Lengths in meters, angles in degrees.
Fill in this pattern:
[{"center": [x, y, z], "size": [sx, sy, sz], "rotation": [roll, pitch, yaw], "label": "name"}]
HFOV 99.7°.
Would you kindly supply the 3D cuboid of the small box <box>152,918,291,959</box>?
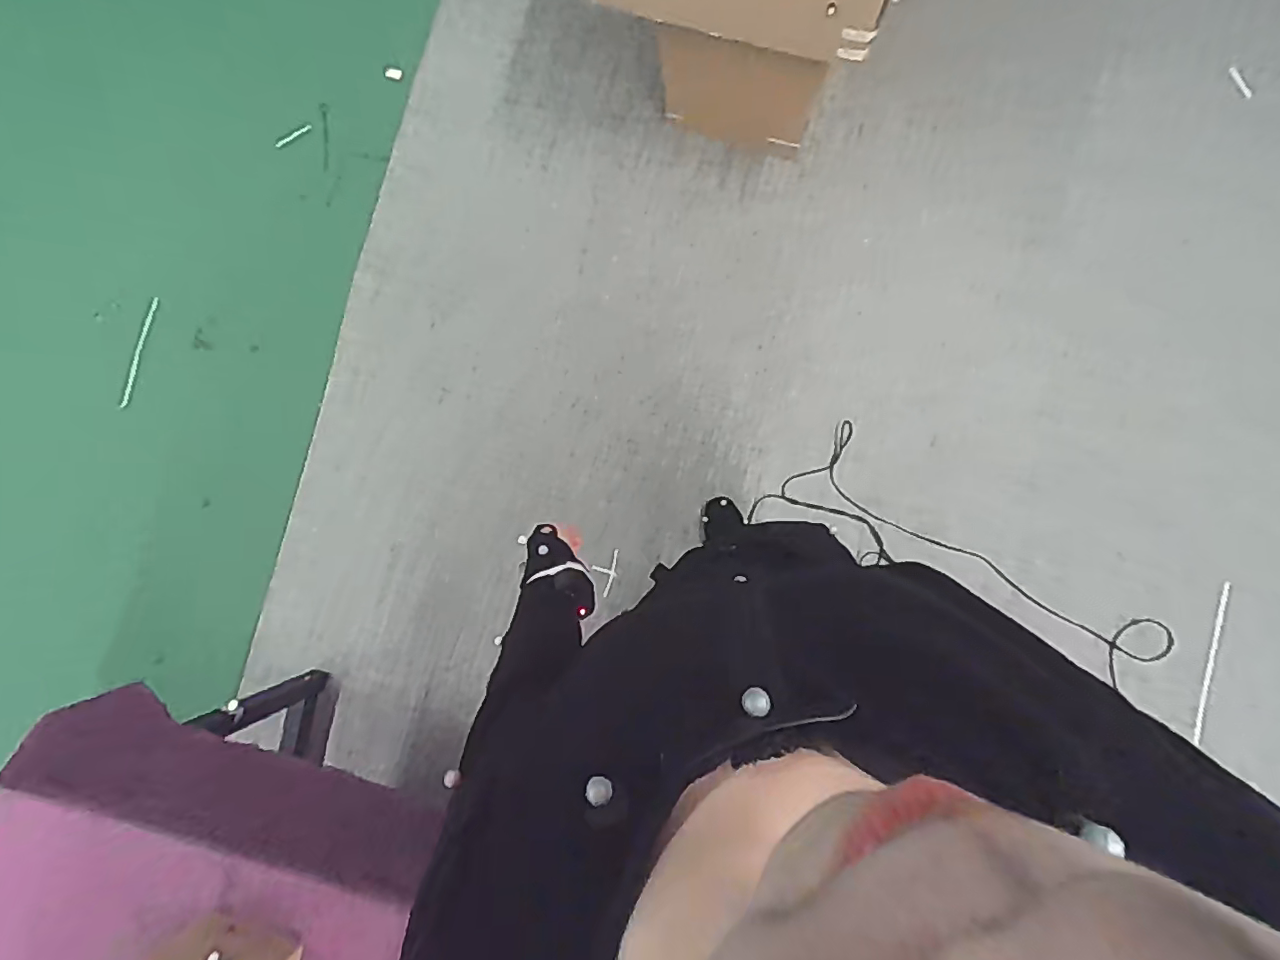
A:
[{"center": [-0.606, 0.744, 0.721], "size": [0.168, 0.176, 0.179], "rotation": [11, 87, 6], "label": "small box"}]
